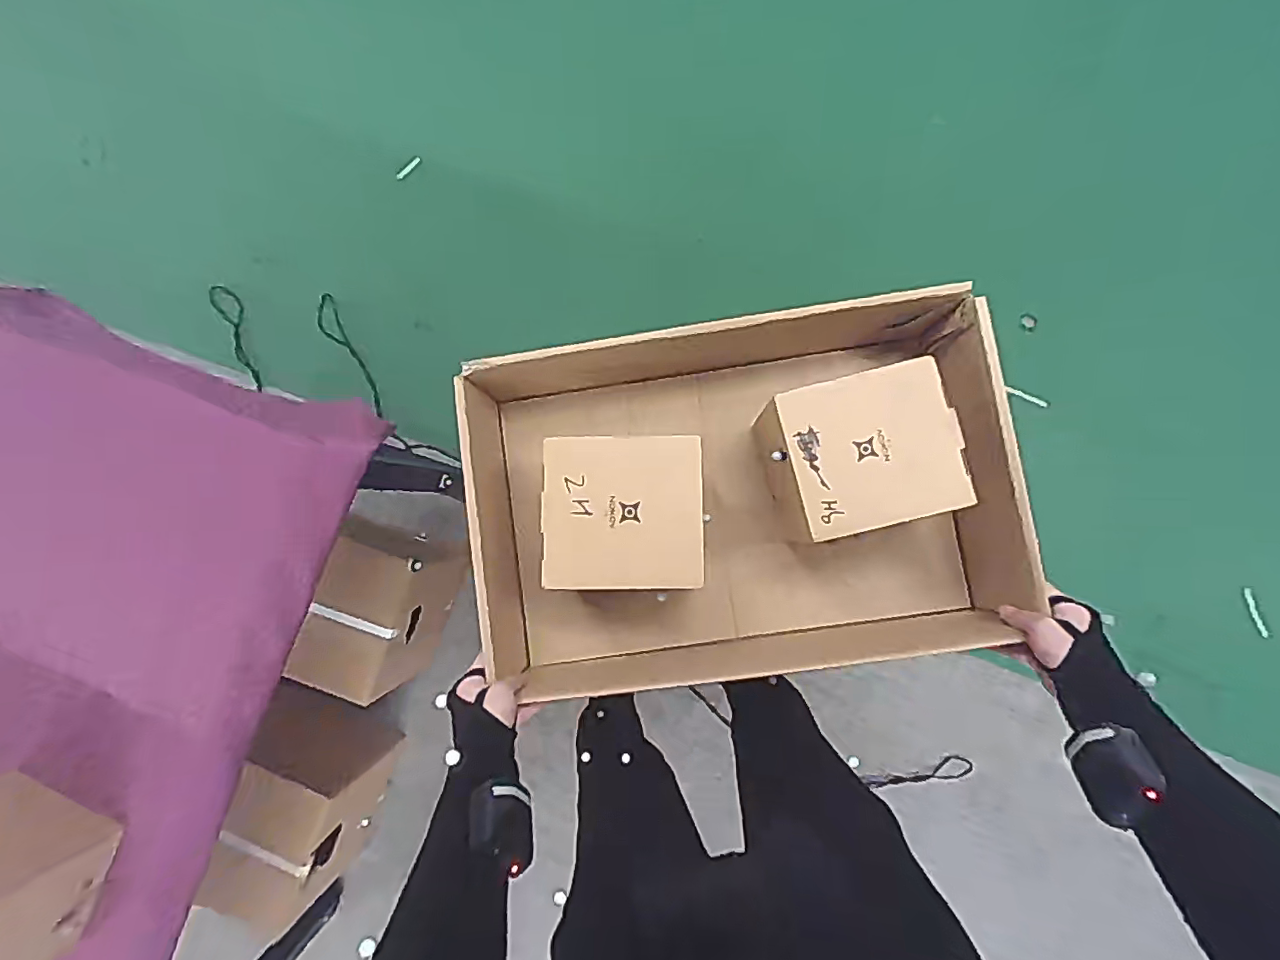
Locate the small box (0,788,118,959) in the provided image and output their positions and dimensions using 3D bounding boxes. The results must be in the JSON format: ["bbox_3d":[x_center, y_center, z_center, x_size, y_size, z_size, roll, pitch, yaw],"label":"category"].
[{"bbox_3d":[-0.761,0.481,0.600,0.179,0.176,0.168,22,90,6],"label":"small box"}]

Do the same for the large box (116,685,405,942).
[{"bbox_3d":[-0.845,0.735,1.258,0.408,0.320,0.320,20,88,6],"label":"large box"}]
